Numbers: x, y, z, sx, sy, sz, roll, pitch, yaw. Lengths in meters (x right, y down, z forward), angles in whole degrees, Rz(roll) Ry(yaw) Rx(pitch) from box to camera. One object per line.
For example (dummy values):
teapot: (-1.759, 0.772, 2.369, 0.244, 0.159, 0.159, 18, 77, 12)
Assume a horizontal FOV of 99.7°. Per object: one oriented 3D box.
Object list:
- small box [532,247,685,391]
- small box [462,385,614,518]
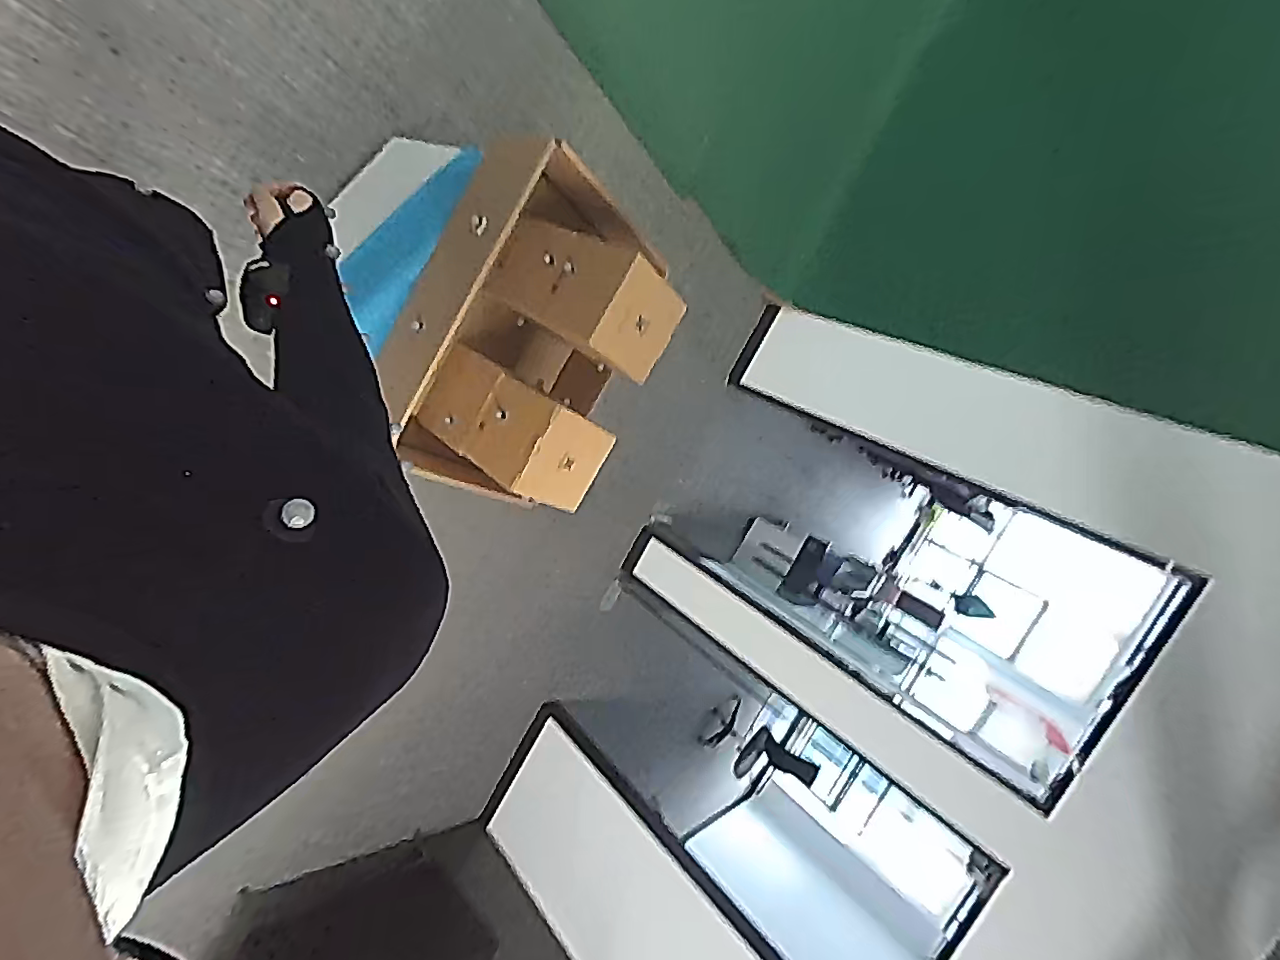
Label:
small box: (-0.056, -0.291, 0.973, 0.168, 0.176, 0.179, -59, 146, 3)
small box: (-0.187, -0.054, 0.996, 0.168, 0.176, 0.179, -59, 146, 3)
